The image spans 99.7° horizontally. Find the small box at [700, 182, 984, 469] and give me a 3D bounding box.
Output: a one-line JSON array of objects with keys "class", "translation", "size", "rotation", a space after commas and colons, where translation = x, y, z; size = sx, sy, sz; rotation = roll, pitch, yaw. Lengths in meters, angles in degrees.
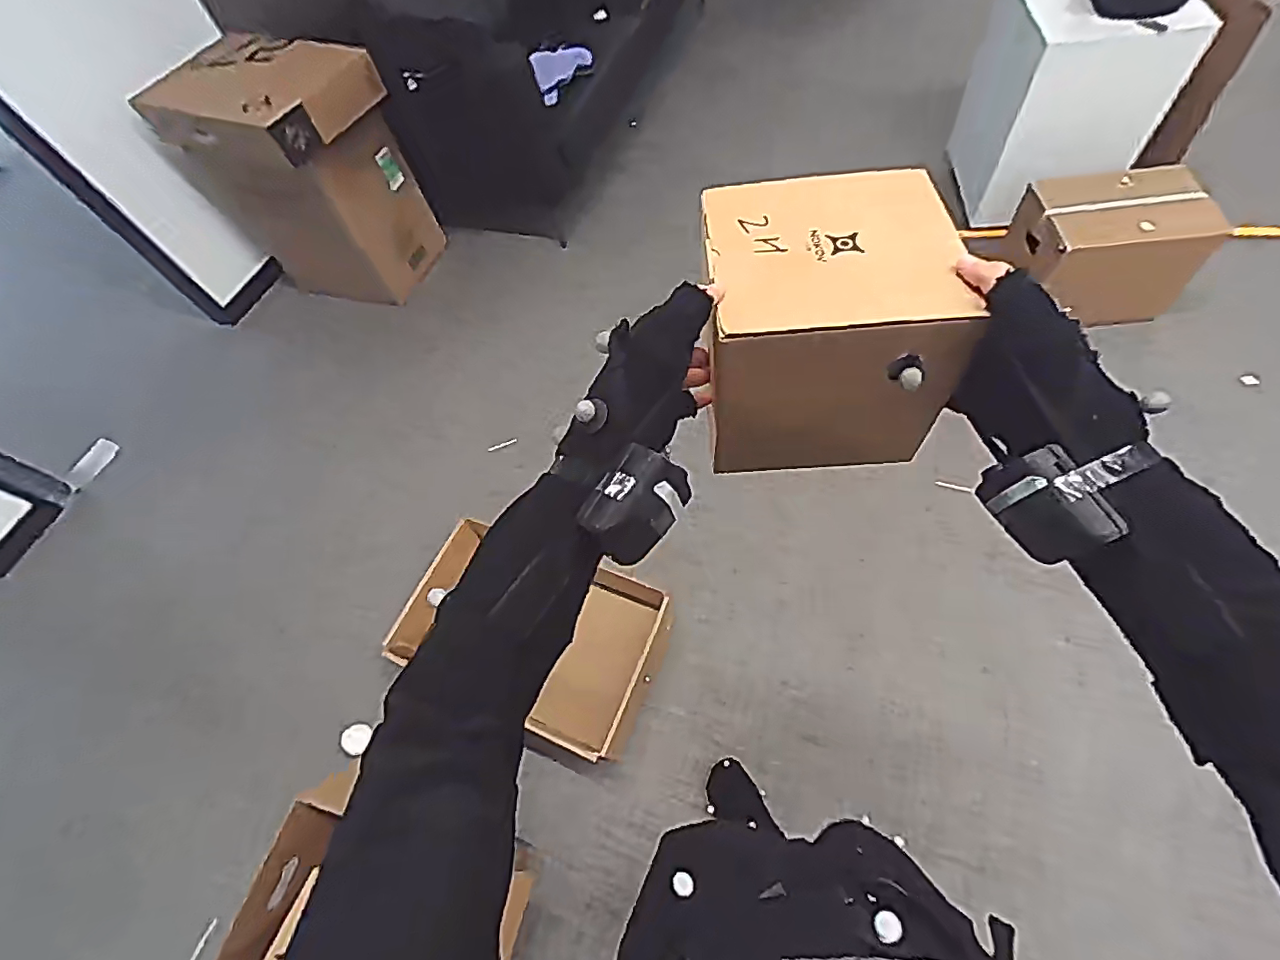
[{"class": "small box", "translation": [0.145, -0.123, 0.467], "size": [0.179, 0.176, 0.168], "rotation": [-4, 57, 4]}]
